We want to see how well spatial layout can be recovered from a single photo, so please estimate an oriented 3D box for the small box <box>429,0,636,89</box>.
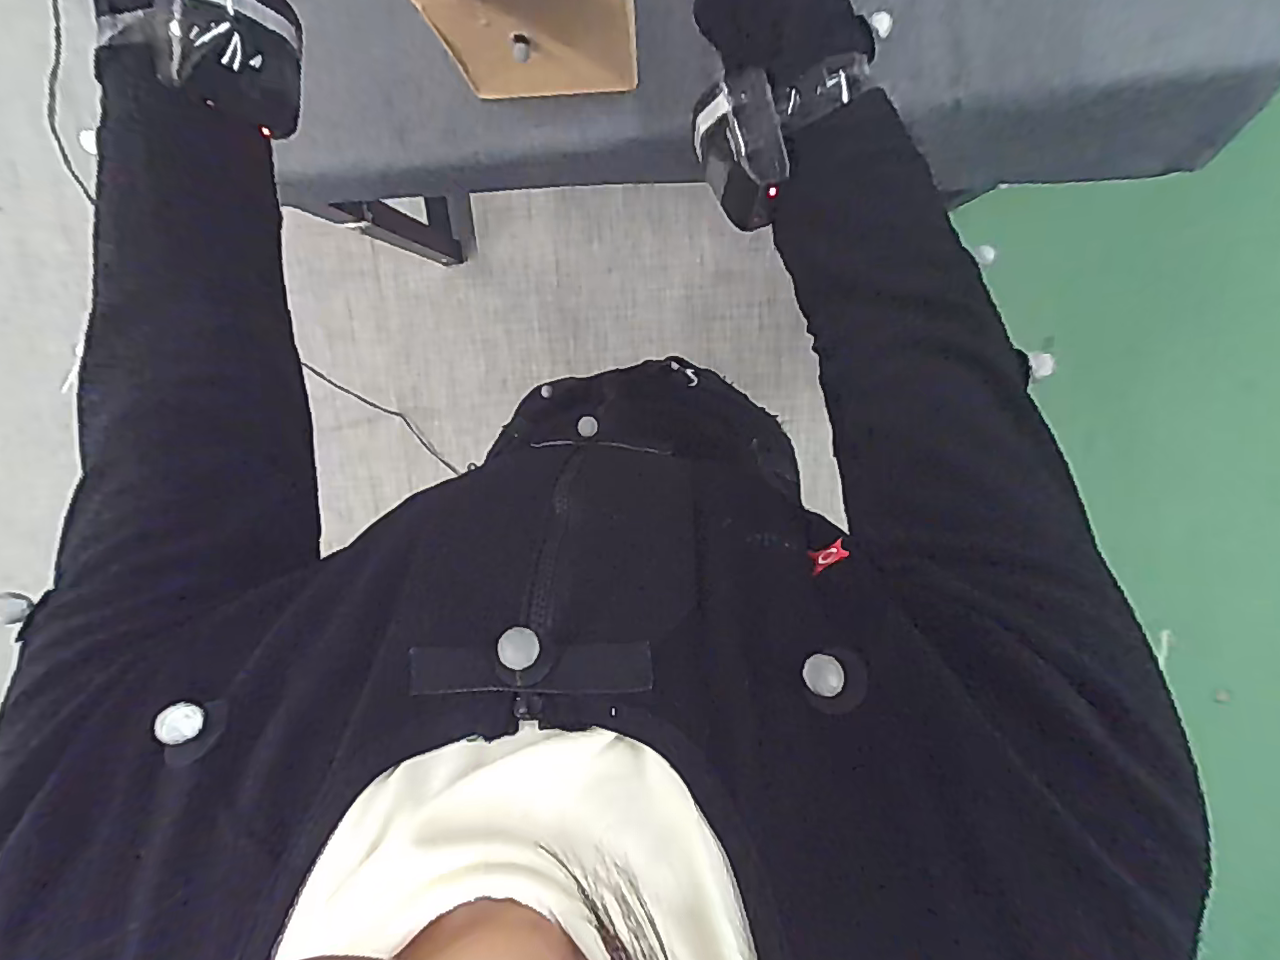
[{"bbox_3d":[-0.098,-0.496,0.502,0.179,0.176,0.168,-1,102,3],"label":"small box"}]
